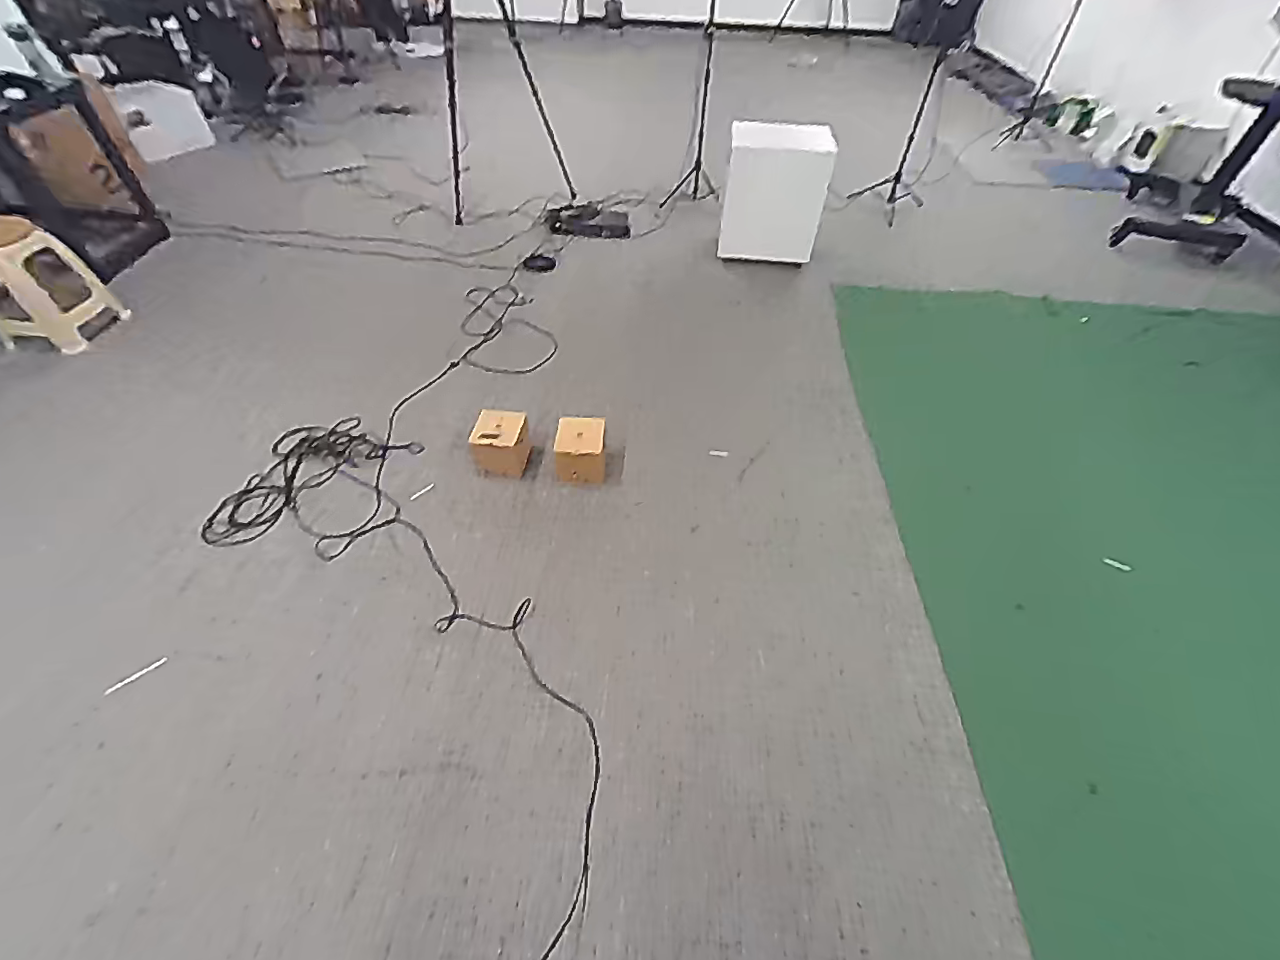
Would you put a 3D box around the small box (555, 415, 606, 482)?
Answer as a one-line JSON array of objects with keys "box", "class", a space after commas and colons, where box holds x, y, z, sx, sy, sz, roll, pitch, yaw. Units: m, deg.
[{"box": [-0.211, -0.114, 1.957, 0.168, 0.176, 0.179, 2, 49, 0], "class": "small box"}]

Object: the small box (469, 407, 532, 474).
[{"box": [-0.500, -0.140, 1.968, 0.168, 0.176, 0.179, 6, 48, 3], "class": "small box"}]
